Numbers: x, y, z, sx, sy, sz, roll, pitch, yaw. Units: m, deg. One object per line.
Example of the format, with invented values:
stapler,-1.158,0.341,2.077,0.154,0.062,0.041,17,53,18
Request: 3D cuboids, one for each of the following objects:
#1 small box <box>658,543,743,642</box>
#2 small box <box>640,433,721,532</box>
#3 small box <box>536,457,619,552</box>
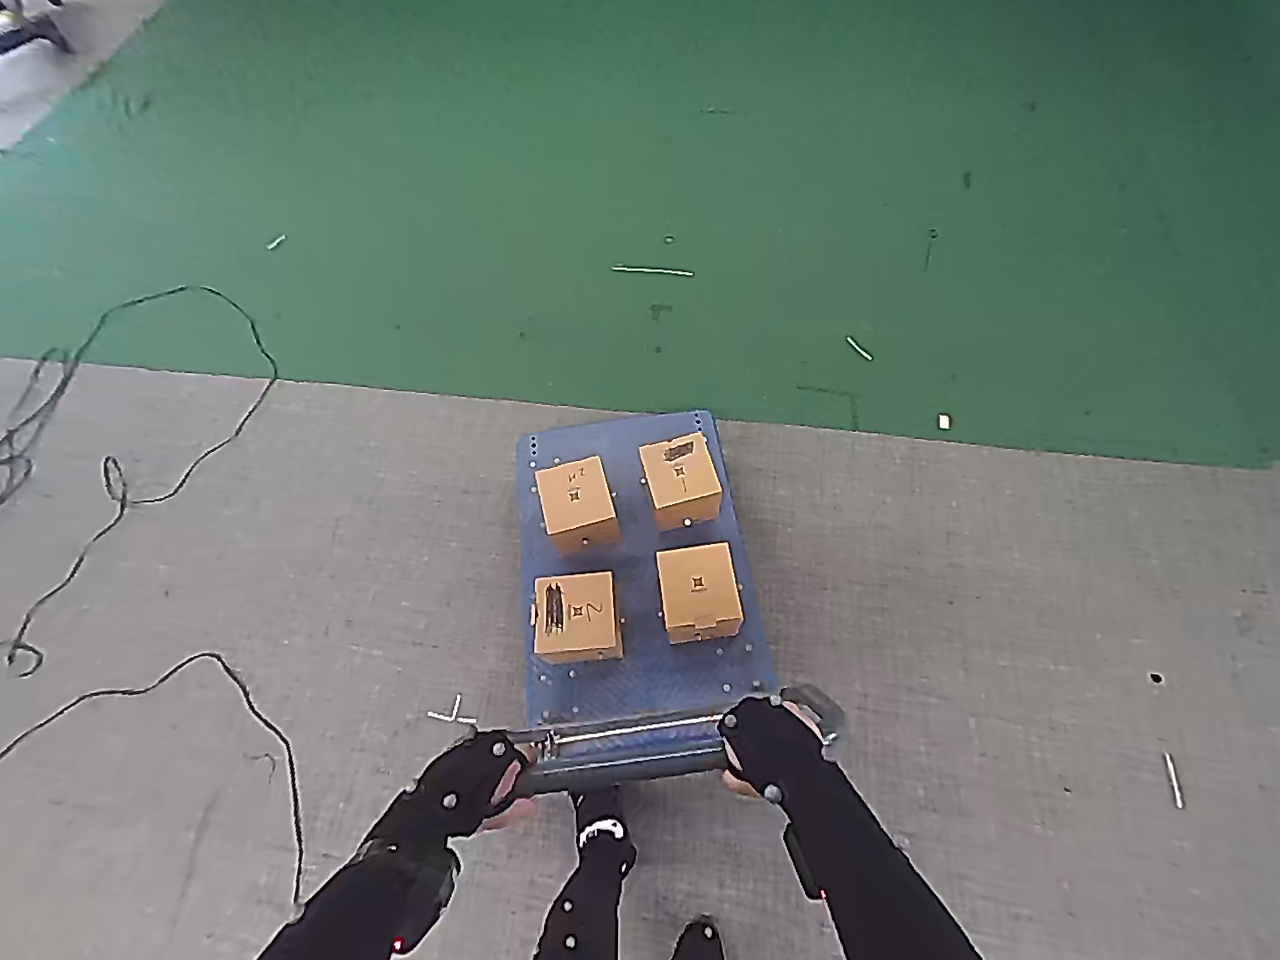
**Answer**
small box,0.133,0.265,1.257,0.168,0.176,0.179,-8,64,0
small box,0.100,0.011,1.386,0.168,0.176,0.179,-14,64,-3
small box,-0.153,0.070,1.372,0.168,0.176,0.179,-14,64,-5
